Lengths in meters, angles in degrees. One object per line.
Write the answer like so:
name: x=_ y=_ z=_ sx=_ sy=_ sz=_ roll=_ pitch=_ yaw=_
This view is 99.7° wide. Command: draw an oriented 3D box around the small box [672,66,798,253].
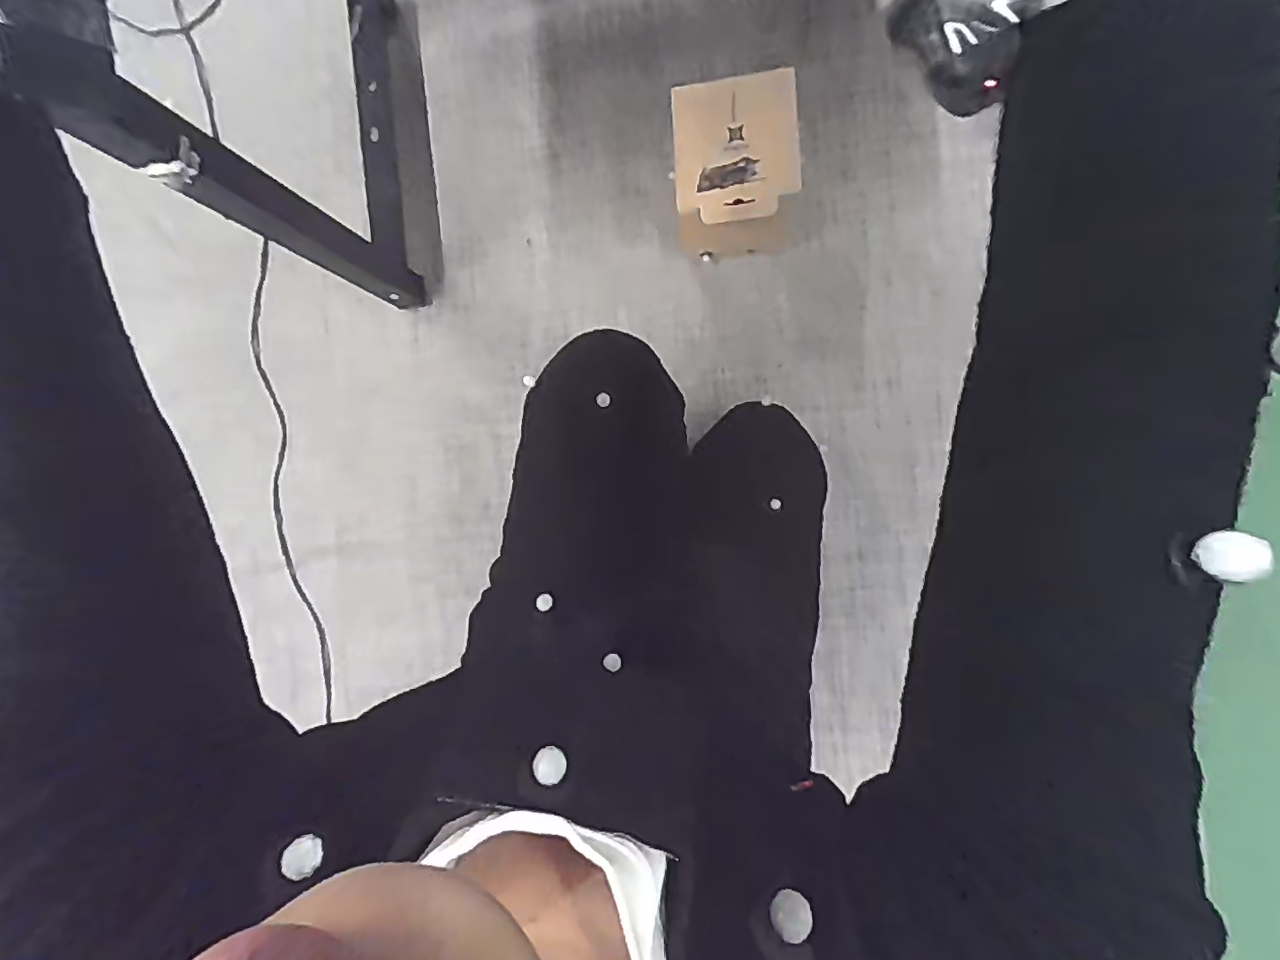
small box: x=0.141 y=-0.453 z=0.799 sx=0.168 sy=0.176 sz=0.179 roll=-2 pitch=88 yaw=10
